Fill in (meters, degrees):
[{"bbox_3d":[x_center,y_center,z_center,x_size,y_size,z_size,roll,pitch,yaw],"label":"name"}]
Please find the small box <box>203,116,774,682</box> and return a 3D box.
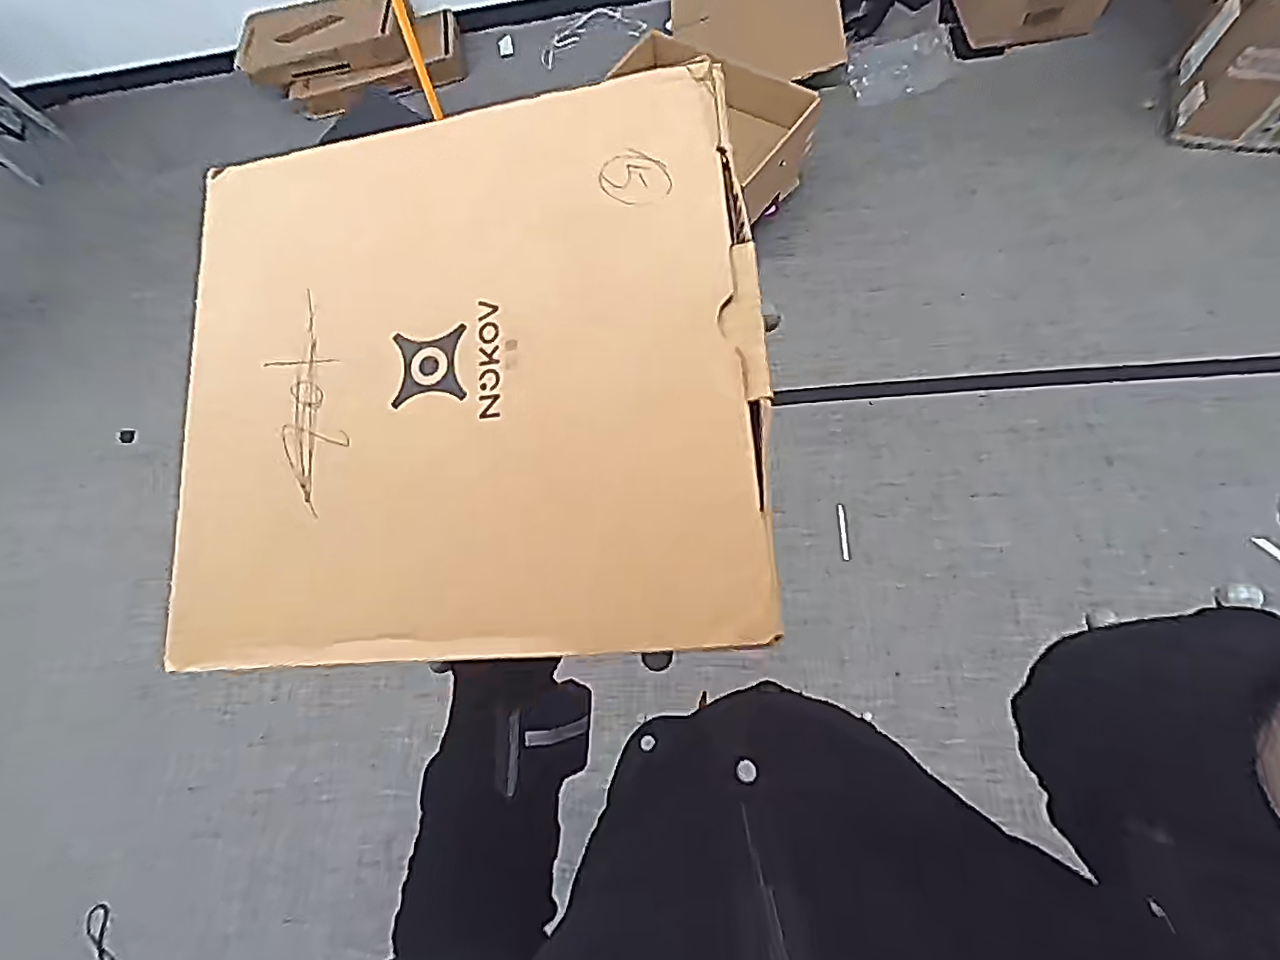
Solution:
[{"bbox_3d":[-0.040,-0.011,0.244,0.179,0.176,0.168,-6,78,11],"label":"small box"}]
